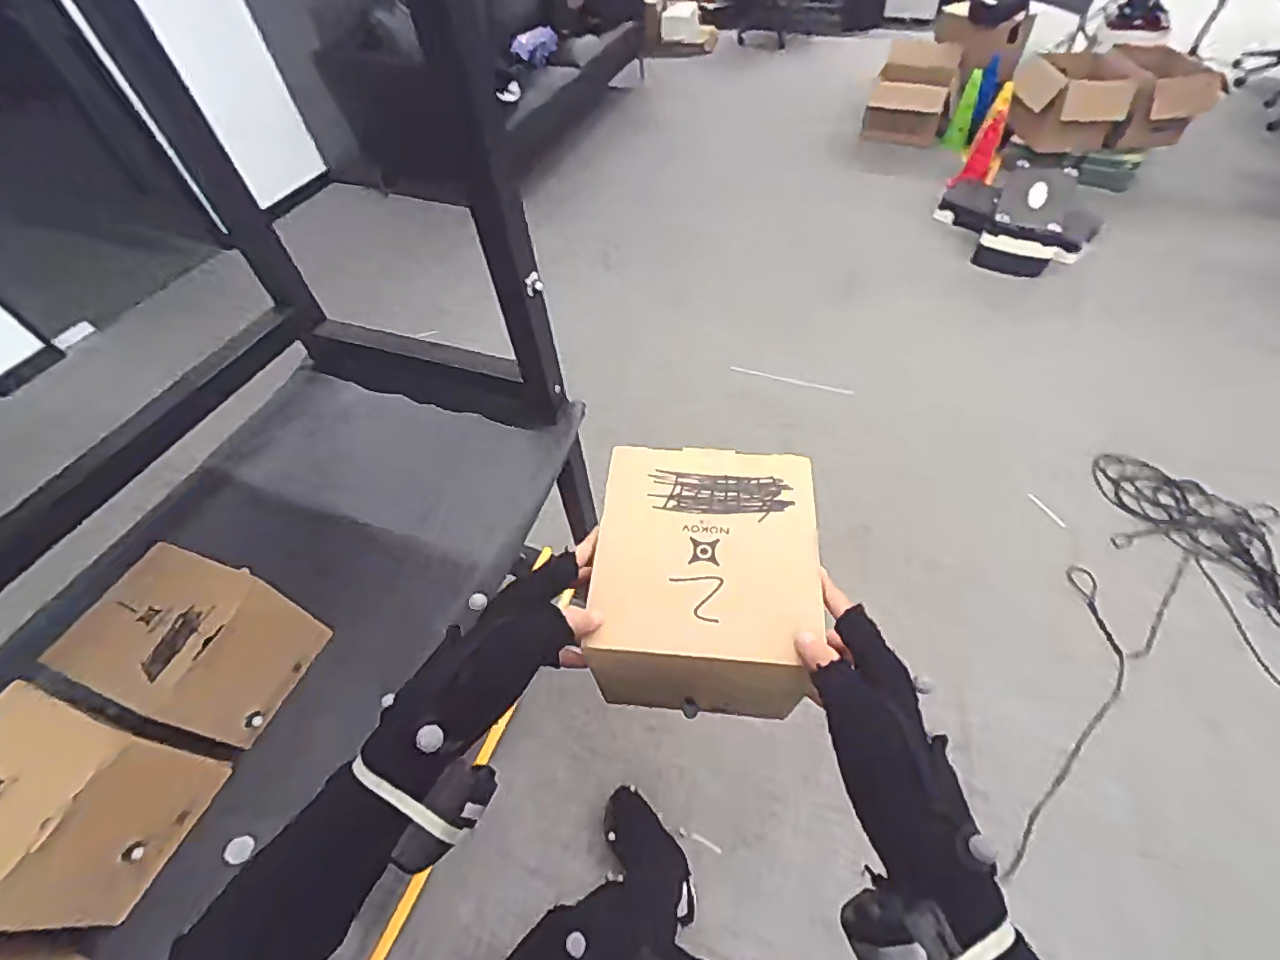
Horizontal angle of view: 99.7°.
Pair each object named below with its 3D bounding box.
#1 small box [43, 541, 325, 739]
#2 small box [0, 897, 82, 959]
[{"bbox_3d":[-0.550,0.207,0.683,0.179,0.176,0.168,14,55,16],"label":"small box"},{"bbox_3d":[-0.684,0.488,0.476,0.179,0.176,0.168,14,55,15],"label":"small box"}]
